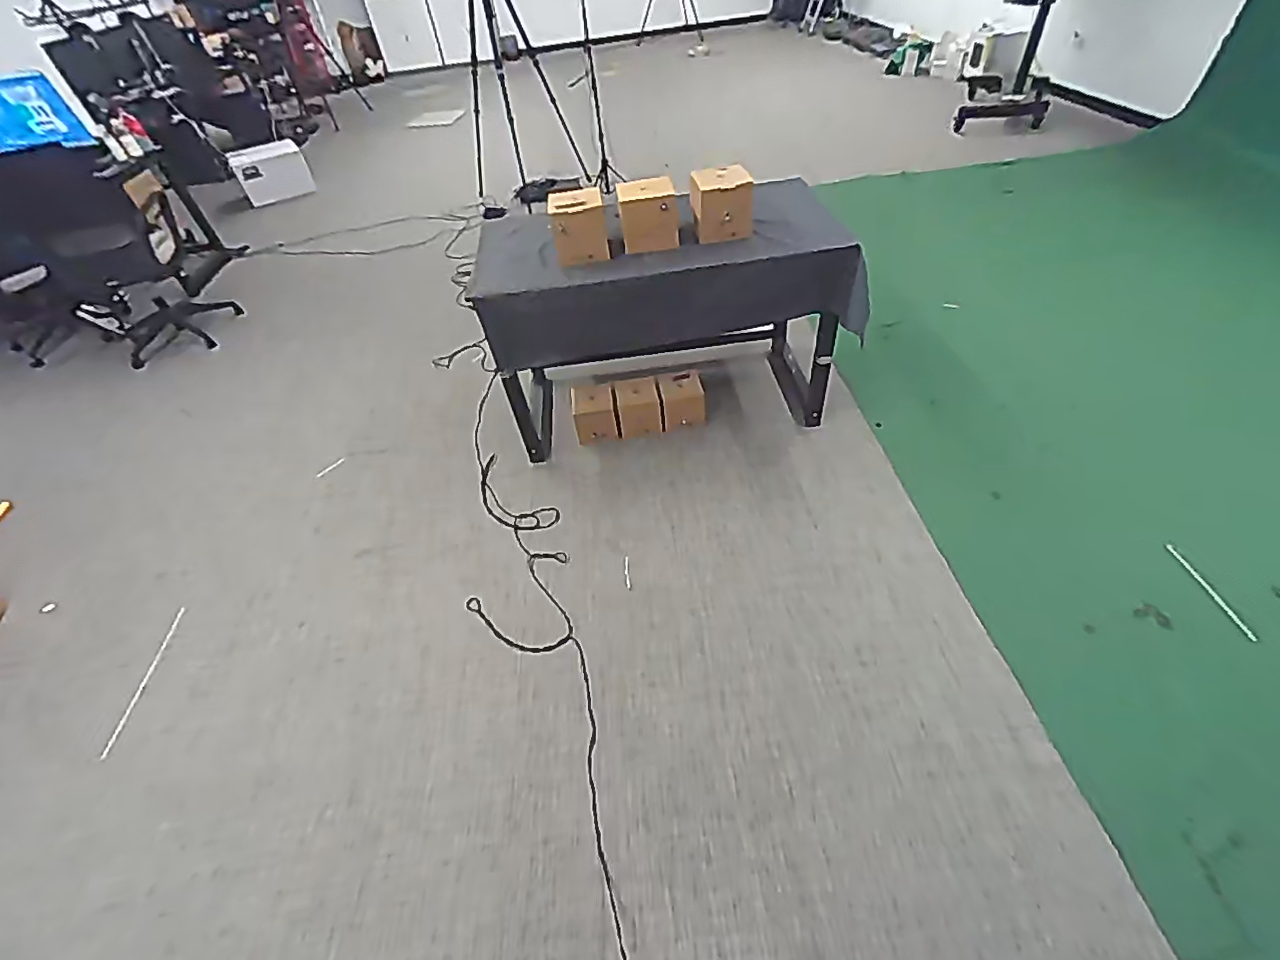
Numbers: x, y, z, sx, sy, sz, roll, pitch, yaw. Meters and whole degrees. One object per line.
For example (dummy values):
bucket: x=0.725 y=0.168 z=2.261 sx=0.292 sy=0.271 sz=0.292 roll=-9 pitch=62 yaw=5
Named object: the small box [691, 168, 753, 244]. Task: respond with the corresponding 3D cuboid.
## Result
small box: x=0.260 y=-0.870 z=1.730 sx=0.168 sy=0.176 sz=0.179 roll=-9 pitch=46 yaw=-1
